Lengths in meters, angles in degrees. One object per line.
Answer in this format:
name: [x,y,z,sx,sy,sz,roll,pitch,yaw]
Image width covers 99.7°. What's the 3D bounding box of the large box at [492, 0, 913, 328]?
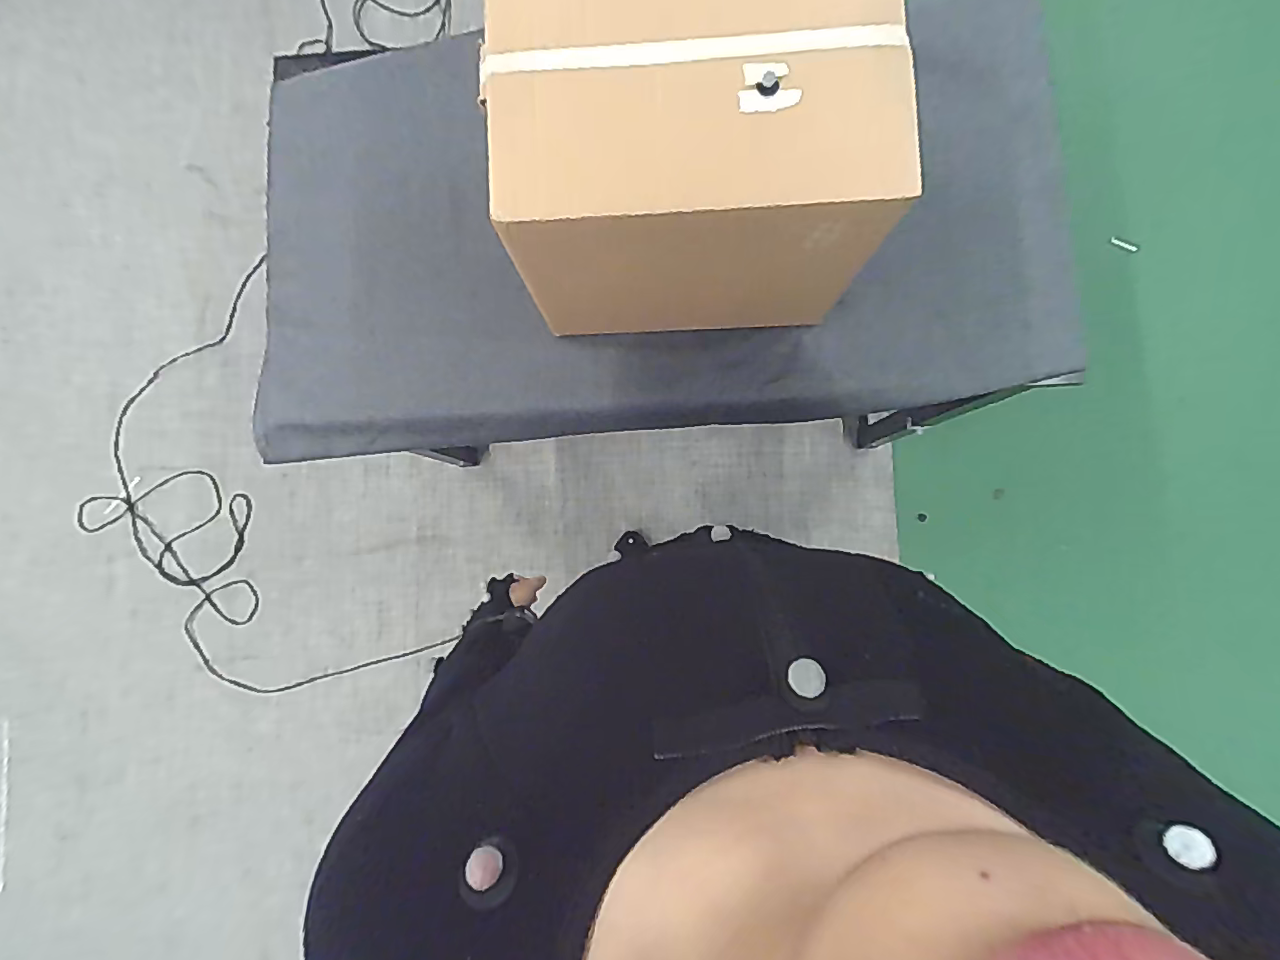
large box: [0.057,-0.403,0.678,0.408,0.320,0.320,-3,86,2]
